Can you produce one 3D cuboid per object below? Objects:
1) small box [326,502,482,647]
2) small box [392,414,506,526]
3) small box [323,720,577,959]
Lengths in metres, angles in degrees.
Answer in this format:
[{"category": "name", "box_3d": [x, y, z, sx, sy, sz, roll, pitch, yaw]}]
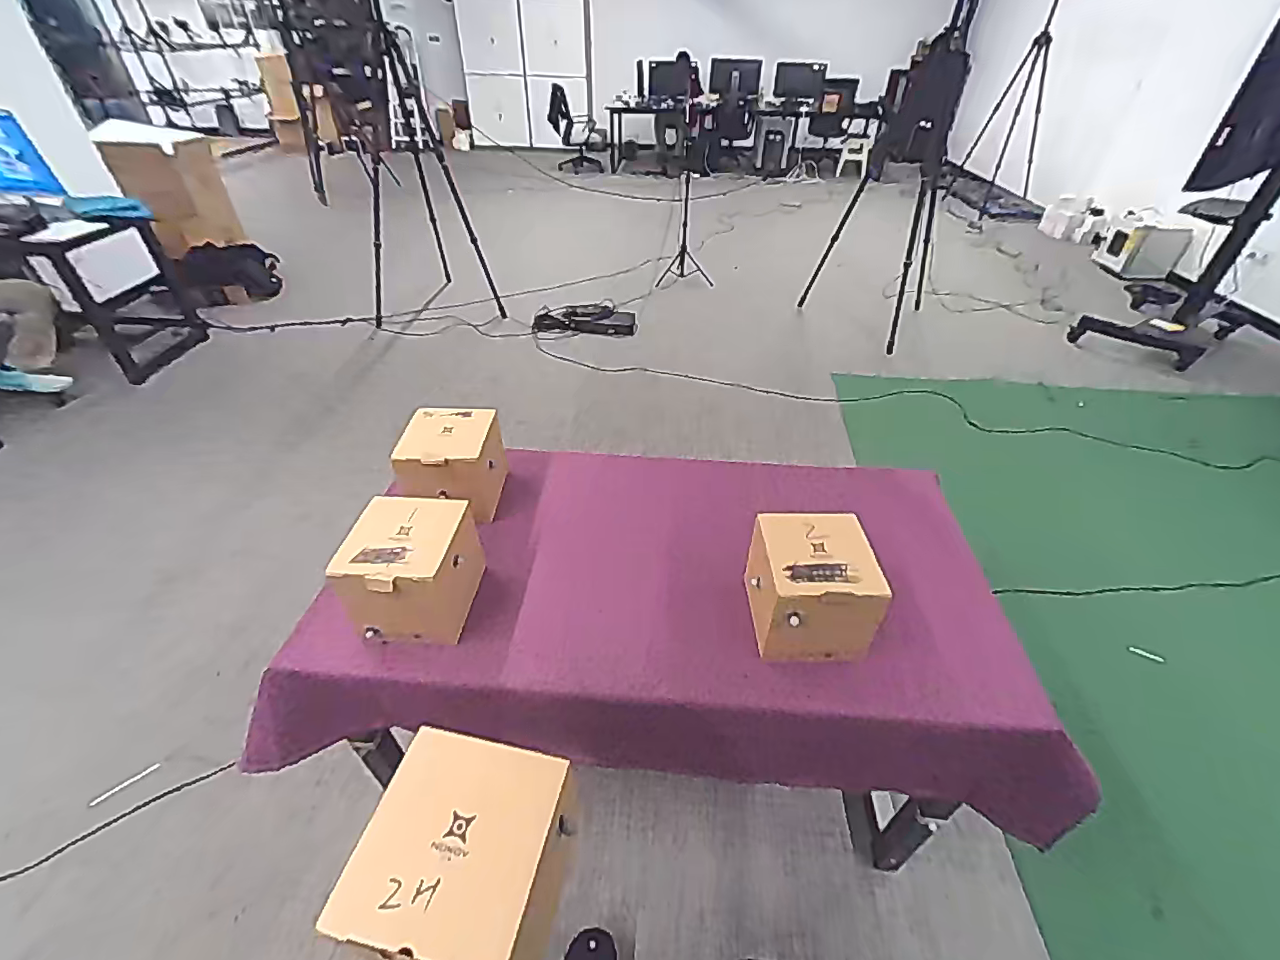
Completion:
[{"category": "small box", "box_3d": [-0.375, 0.158, 0.902, 0.168, 0.176, 0.179, 3, 38, 2]}, {"category": "small box", "box_3d": [-0.381, -0.019, 1.118, 0.168, 0.176, 0.179, 1, 41, -1]}, {"category": "small box", "box_3d": [-0.167, 0.382, 0.546, 0.168, 0.176, 0.179, 8, 41, 11]}]
